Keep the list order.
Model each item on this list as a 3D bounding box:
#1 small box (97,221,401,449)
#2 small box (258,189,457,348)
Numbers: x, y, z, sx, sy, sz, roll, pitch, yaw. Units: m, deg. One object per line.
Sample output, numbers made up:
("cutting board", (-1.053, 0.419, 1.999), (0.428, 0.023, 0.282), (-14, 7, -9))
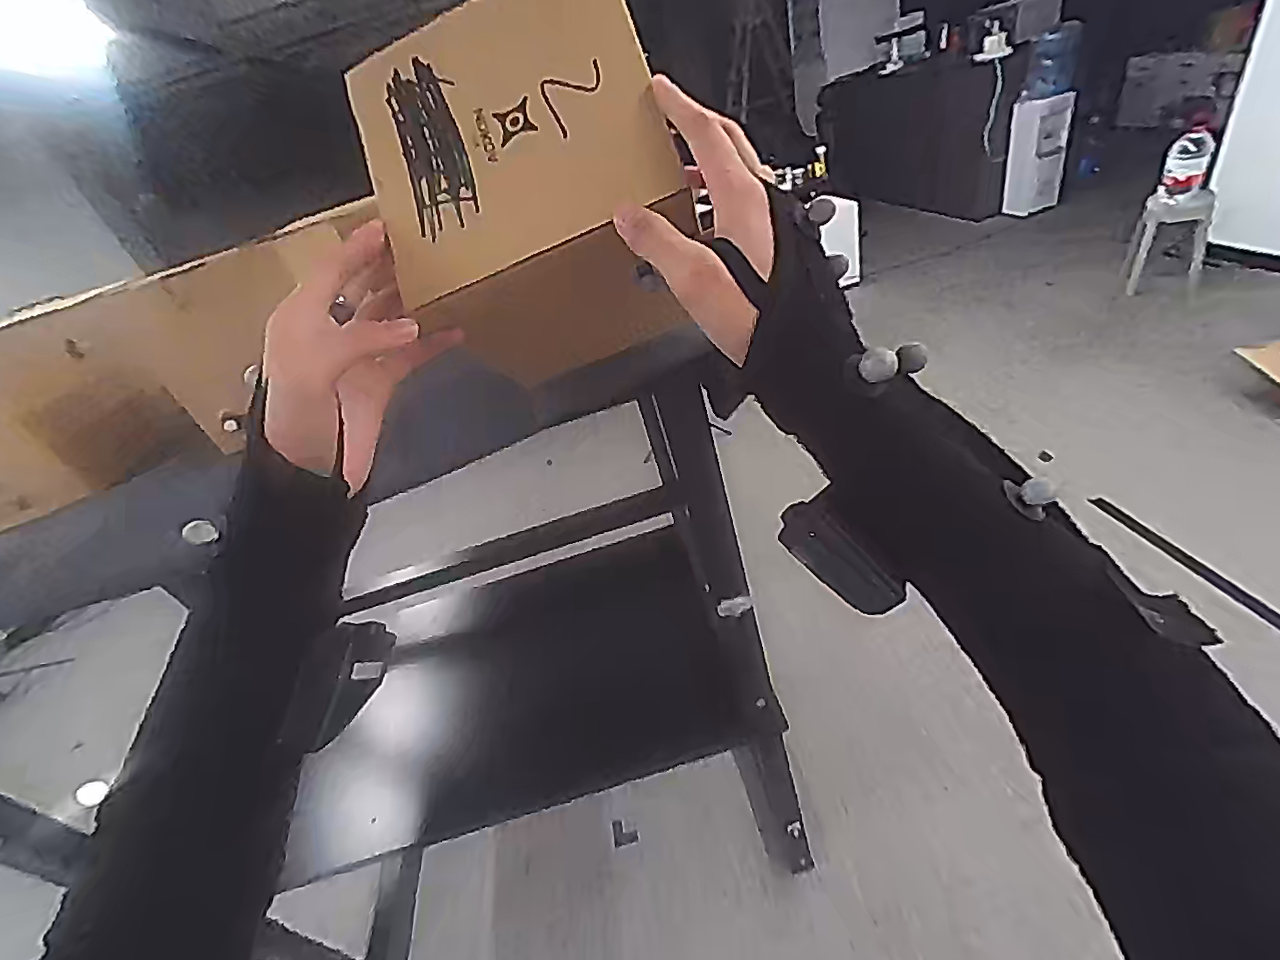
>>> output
("small box", (-0.382, -0.151, 0.575), (0.168, 0.176, 0.179), (-19, 33, 0))
("small box", (-0.375, -0.286, 0.761), (0.168, 0.176, 0.179), (-18, 36, 1))
